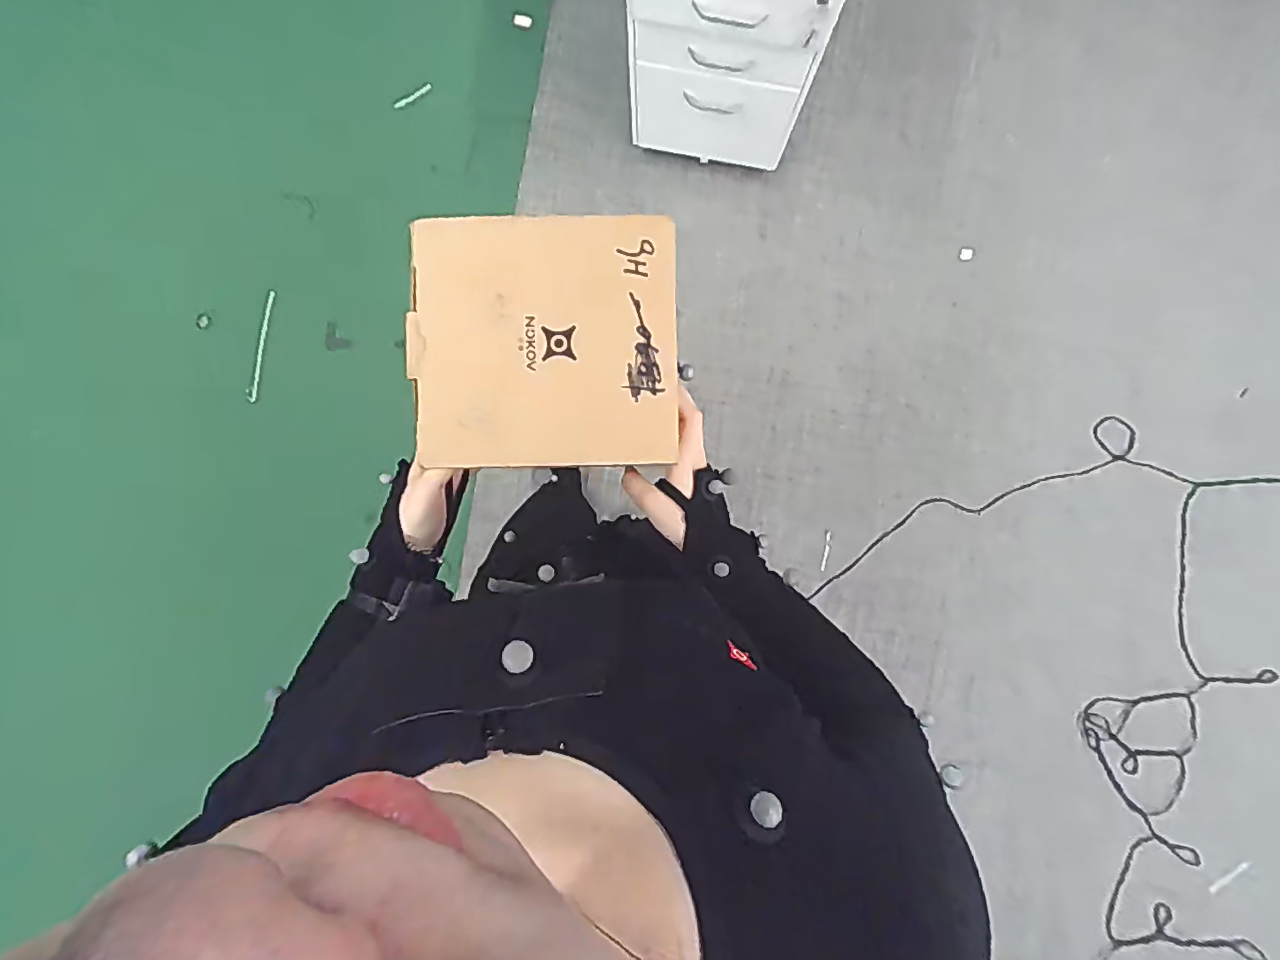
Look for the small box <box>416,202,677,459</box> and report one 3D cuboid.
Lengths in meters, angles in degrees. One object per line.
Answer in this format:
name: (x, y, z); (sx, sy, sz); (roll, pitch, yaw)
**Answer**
small box: (-0.063, -0.103, 0.440); (0.179, 0.176, 0.168); (0, 91, -1)
